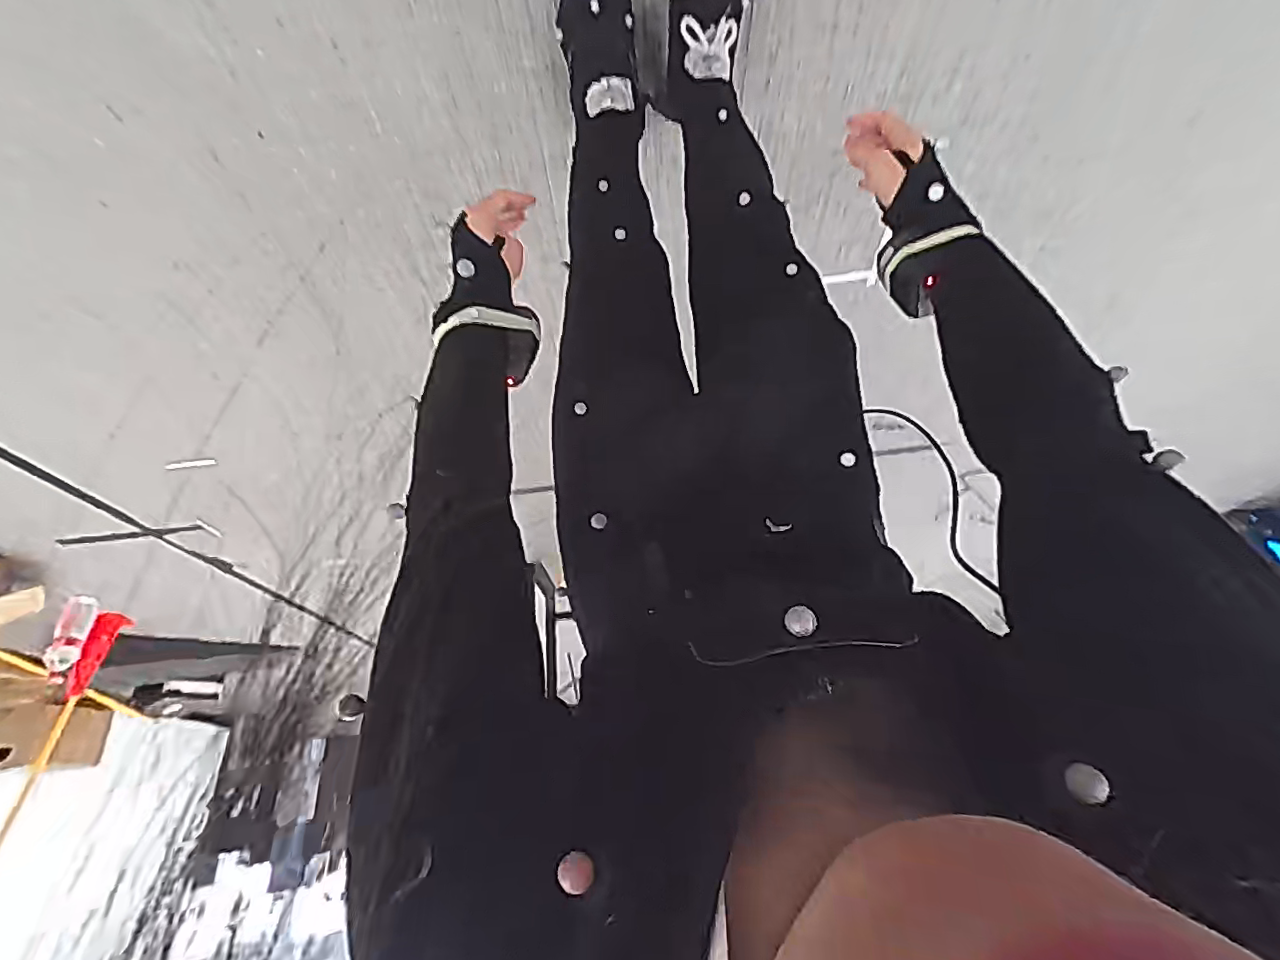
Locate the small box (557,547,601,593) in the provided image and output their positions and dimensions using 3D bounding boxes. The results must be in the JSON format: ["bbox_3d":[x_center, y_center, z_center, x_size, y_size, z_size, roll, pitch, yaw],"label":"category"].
[{"bbox_3d":[-0.295,0.426,2.558,0.179,0.176,0.168,1,148,-17],"label":"small box"}]
